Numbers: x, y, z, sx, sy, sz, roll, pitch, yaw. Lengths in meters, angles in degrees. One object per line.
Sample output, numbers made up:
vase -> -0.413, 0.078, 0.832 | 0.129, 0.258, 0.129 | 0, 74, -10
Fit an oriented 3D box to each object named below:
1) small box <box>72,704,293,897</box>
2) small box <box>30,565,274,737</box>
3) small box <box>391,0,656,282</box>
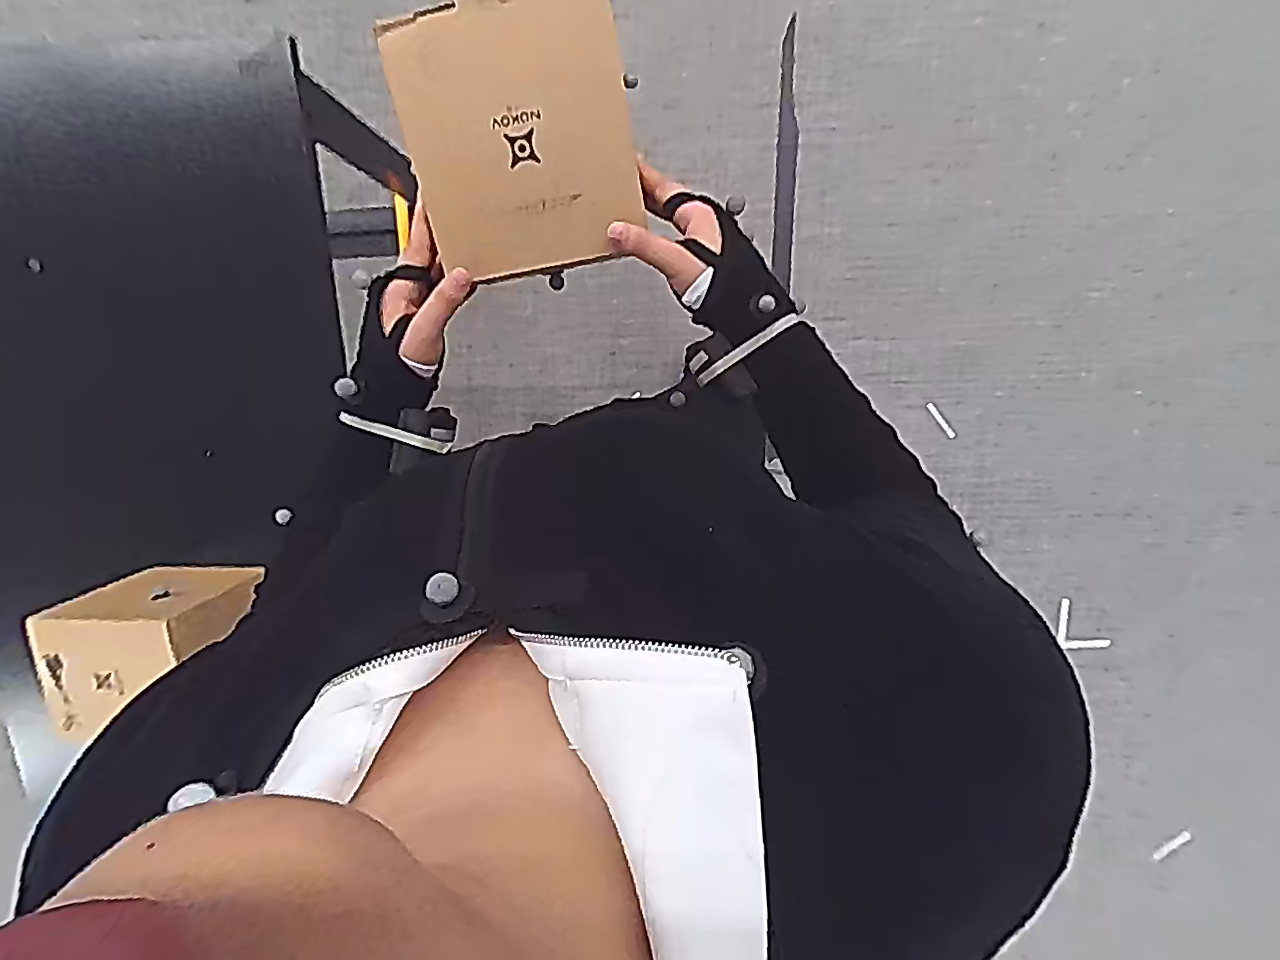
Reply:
small box -> -0.632, 0.447, 0.774 | 0.168, 0.176, 0.179 | -1, 101, 1
small box -> -0.628, 0.219, 0.728 | 0.179, 0.176, 0.168 | 0, 102, 1
small box -> -0.083, -0.278, 0.476 | 0.168, 0.176, 0.179 | -10, 111, 2
